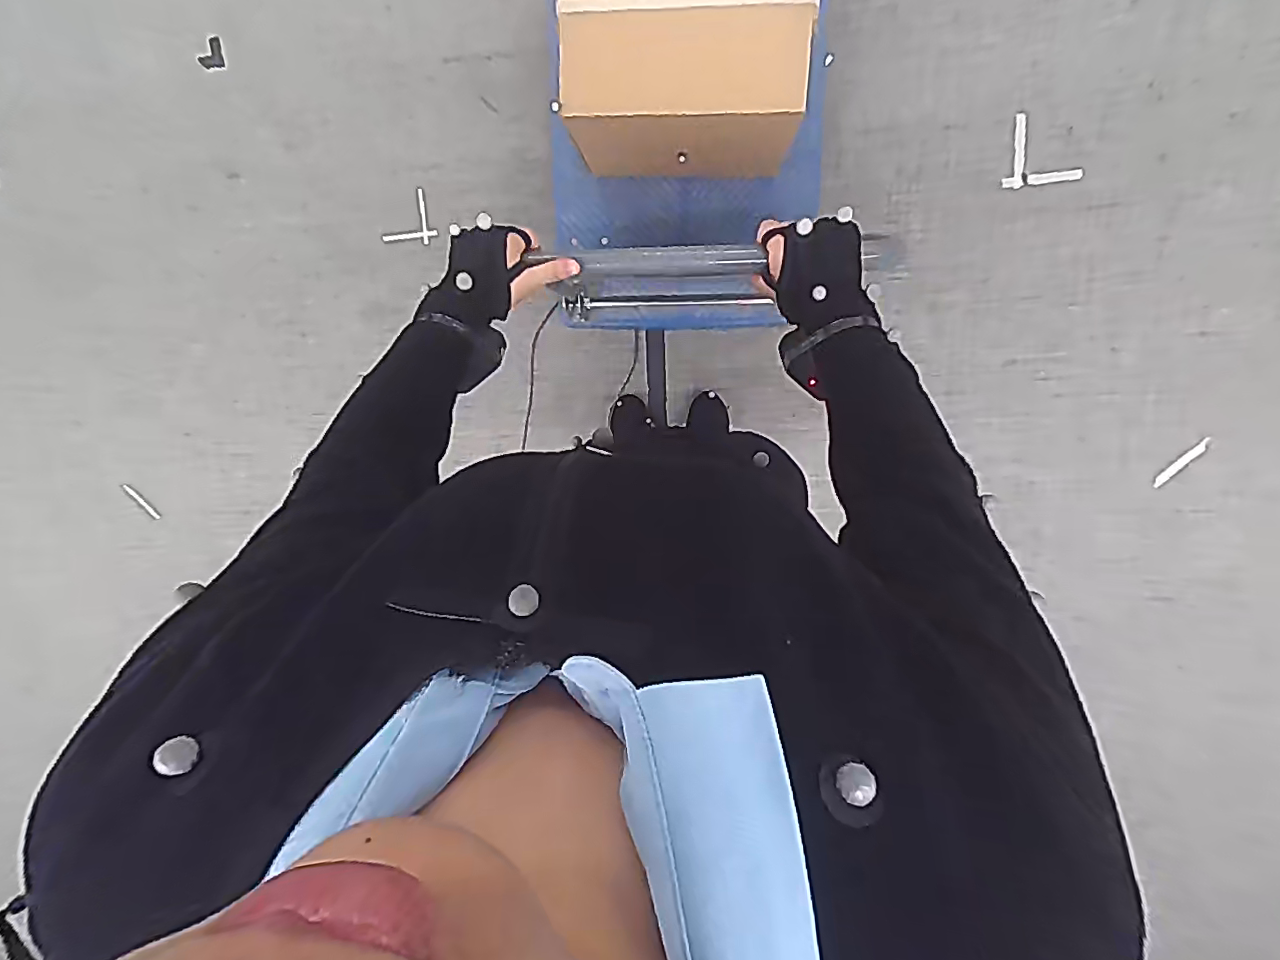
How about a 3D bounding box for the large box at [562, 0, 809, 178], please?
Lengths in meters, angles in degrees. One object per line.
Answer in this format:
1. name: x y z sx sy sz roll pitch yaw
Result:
1. large box: 0.087 -0.784 1.013 0.408 0.320 0.320 2 101 6
